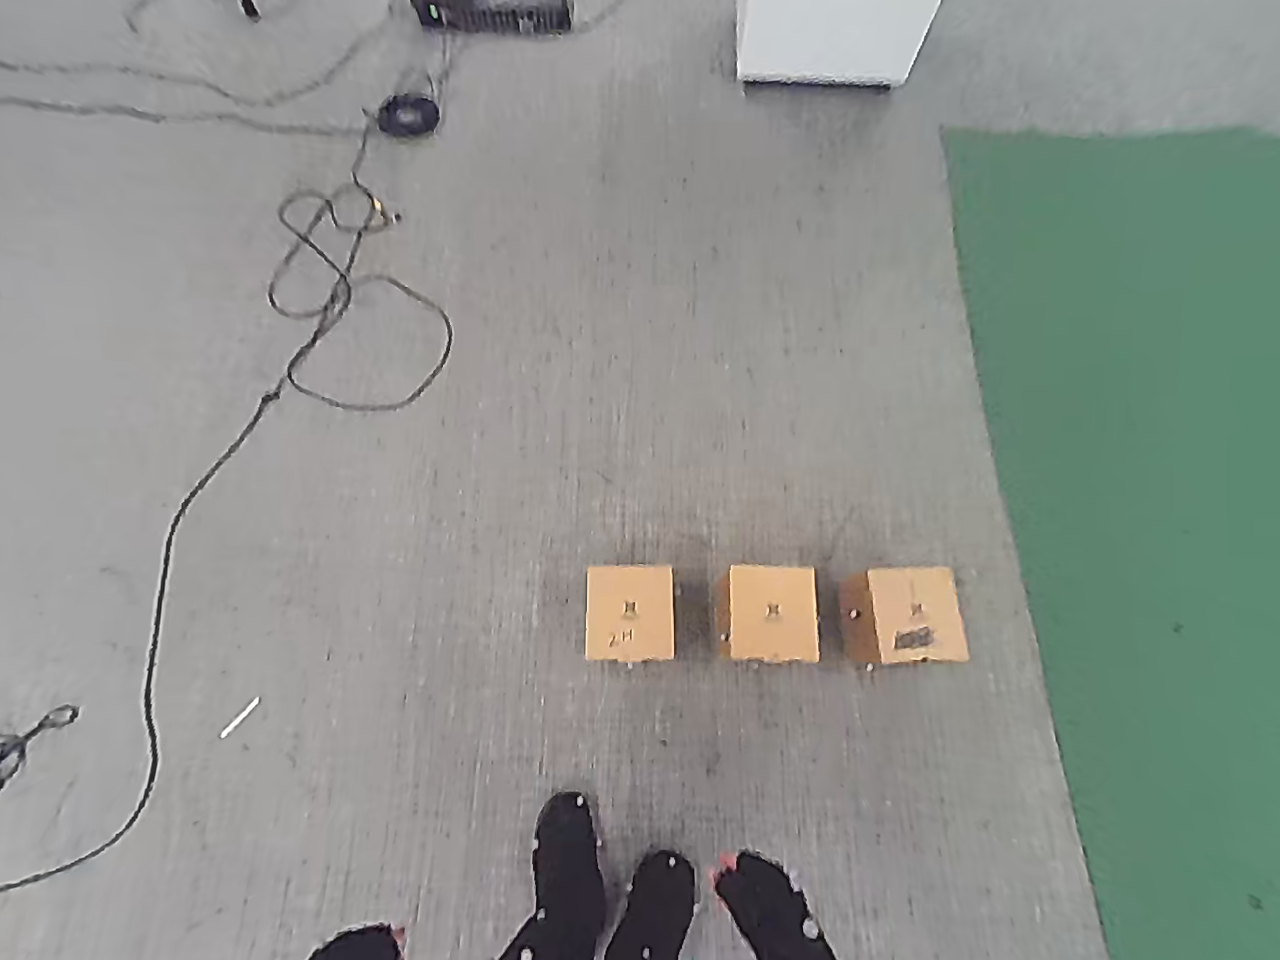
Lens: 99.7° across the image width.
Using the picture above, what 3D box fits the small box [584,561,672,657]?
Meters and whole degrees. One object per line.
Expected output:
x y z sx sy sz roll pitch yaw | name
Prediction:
-0.021 0.265 1.097 0.168 0.176 0.179 0 72 1 | small box

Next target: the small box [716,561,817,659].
0.247 0.268 1.099 0.168 0.176 0.179 2 72 0 | small box

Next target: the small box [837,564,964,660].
0.516 0.271 1.096 0.168 0.176 0.179 -1 71 0 | small box
